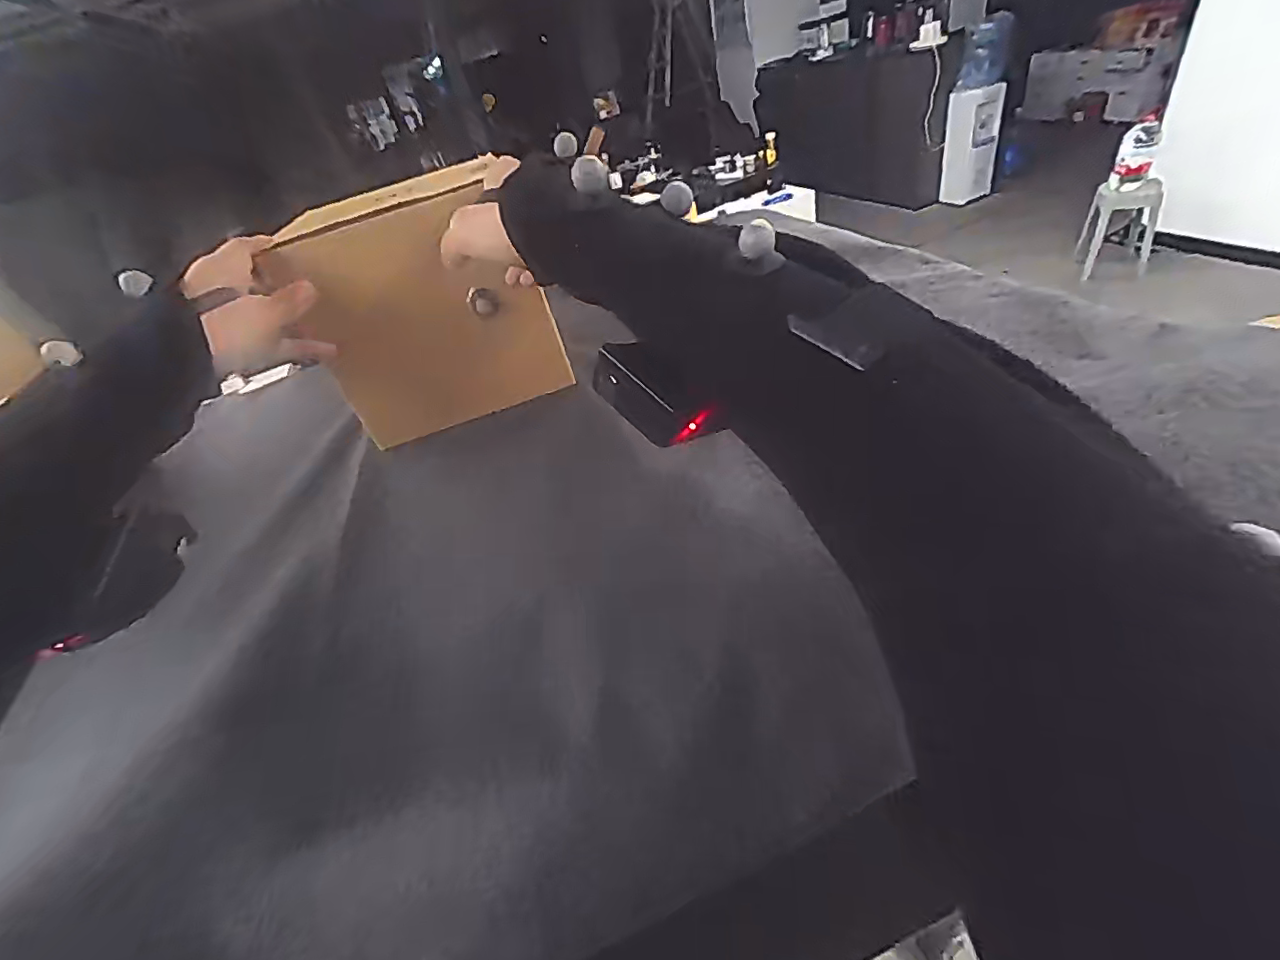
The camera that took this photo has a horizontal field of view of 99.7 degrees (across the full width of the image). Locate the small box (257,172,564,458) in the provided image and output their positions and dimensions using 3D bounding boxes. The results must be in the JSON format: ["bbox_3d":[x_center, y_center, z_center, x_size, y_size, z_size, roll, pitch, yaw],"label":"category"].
[{"bbox_3d":[-0.173,-0.146,0.474,0.179,0.176,0.168,-19,36,-3],"label":"small box"}]
